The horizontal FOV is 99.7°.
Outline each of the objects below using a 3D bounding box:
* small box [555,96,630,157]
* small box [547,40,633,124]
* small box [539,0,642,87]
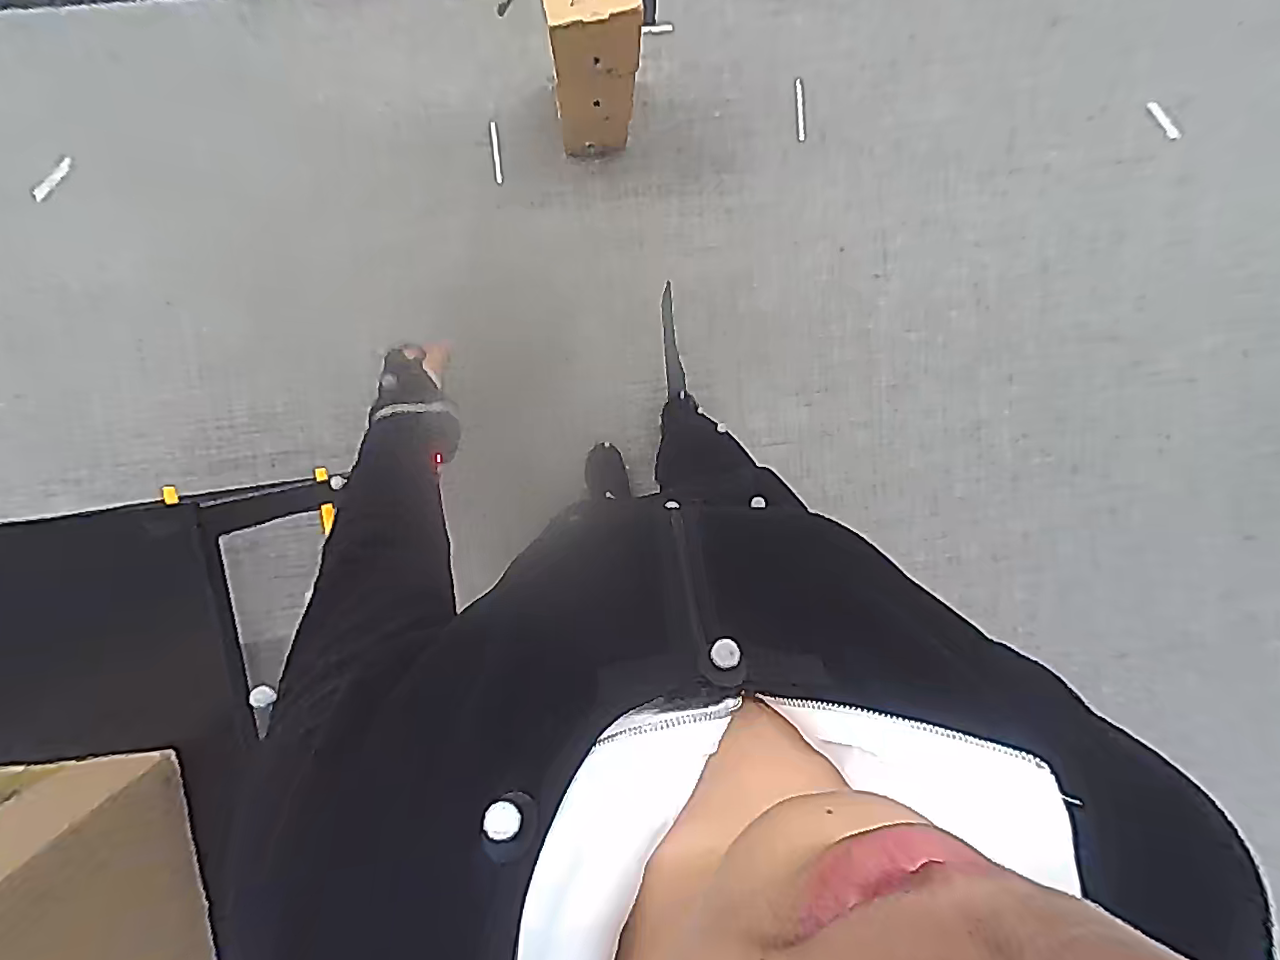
[{"bbox_3d":[-0.120,-0.920,1.309,0.168,0.176,0.179,-9,97,-1],"label":"small box"},{"bbox_3d":[-0.105,-0.887,1.148,0.168,0.176,0.179,-8,97,-2],"label":"small box"},{"bbox_3d":[-0.097,-0.868,0.983,0.168,0.176,0.179,-13,96,0],"label":"small box"}]
